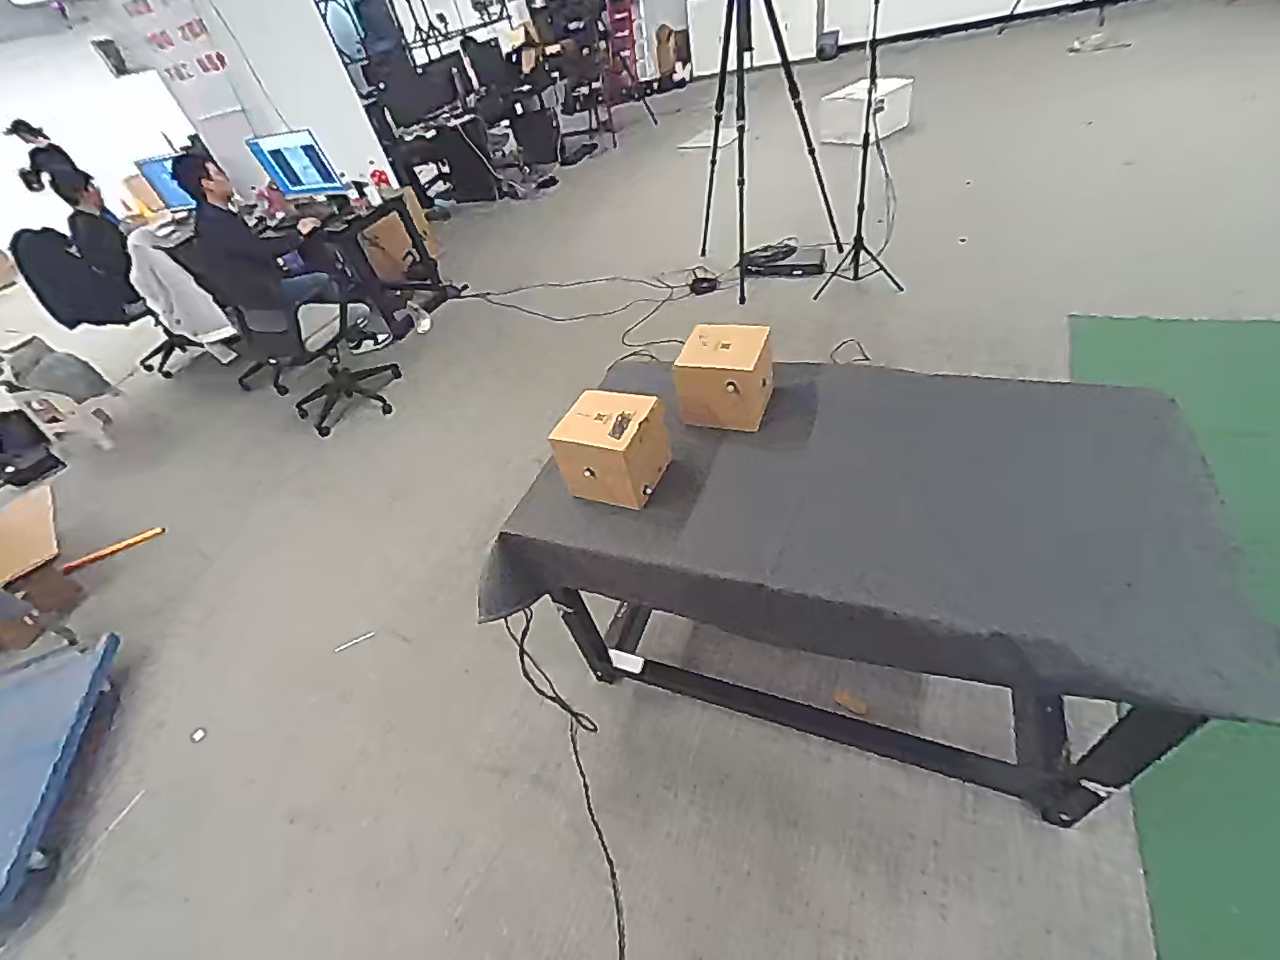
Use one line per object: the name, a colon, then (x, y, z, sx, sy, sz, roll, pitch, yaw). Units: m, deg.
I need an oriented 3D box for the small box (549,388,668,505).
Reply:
small box: (-0.055, -0.068, 1.125, 0.179, 0.176, 0.168, 11, 49, 26)

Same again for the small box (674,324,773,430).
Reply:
small box: (0.196, -0.231, 1.218, 0.179, 0.176, 0.168, 9, 49, 24)
